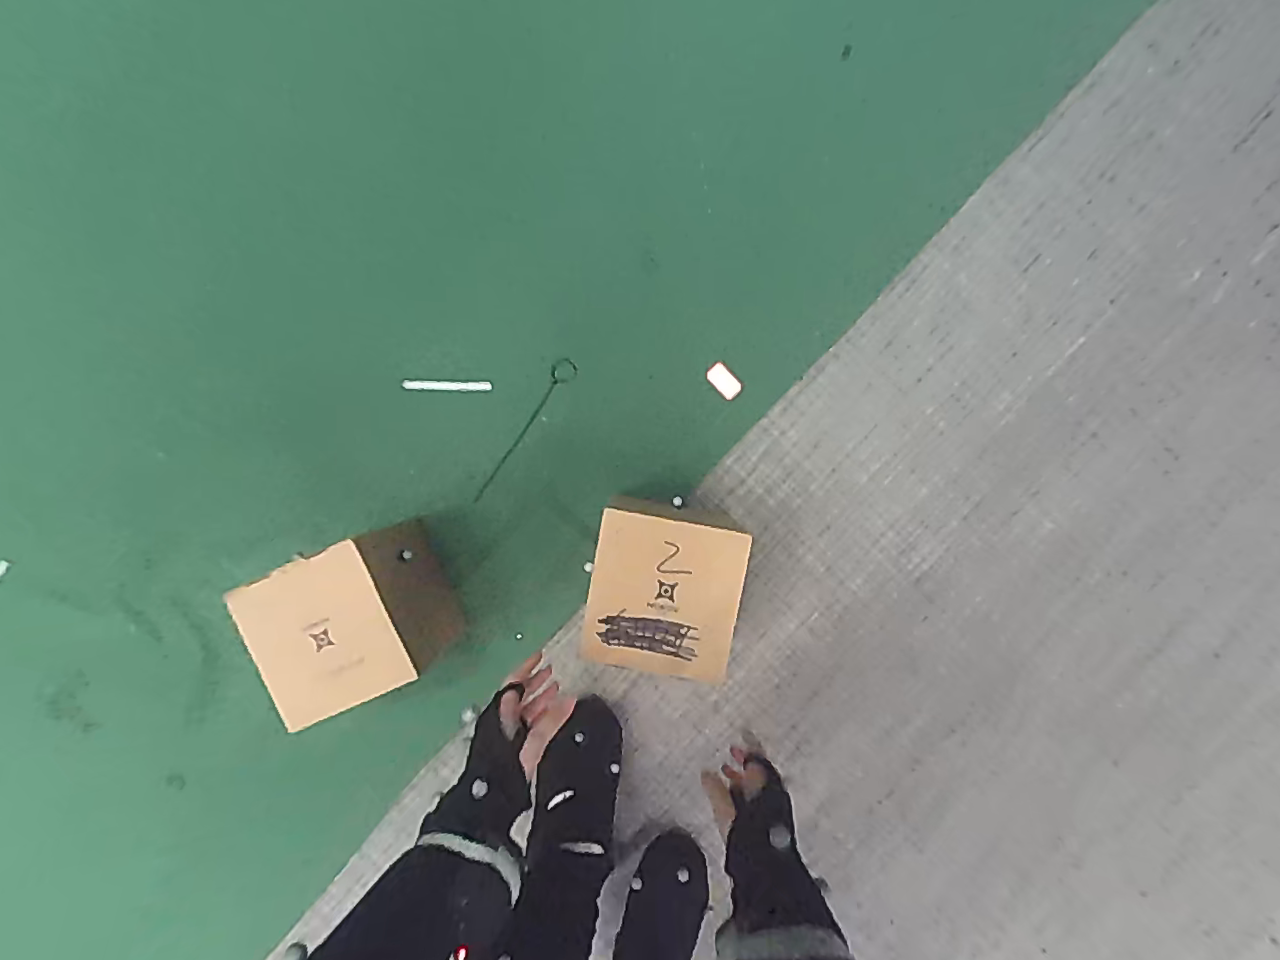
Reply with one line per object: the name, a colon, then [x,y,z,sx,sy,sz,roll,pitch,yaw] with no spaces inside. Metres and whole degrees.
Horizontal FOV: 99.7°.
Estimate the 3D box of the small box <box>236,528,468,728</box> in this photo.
small box: [-0.349,0.170,0.689,0.168,0.176,0.179,-23,92,2]
